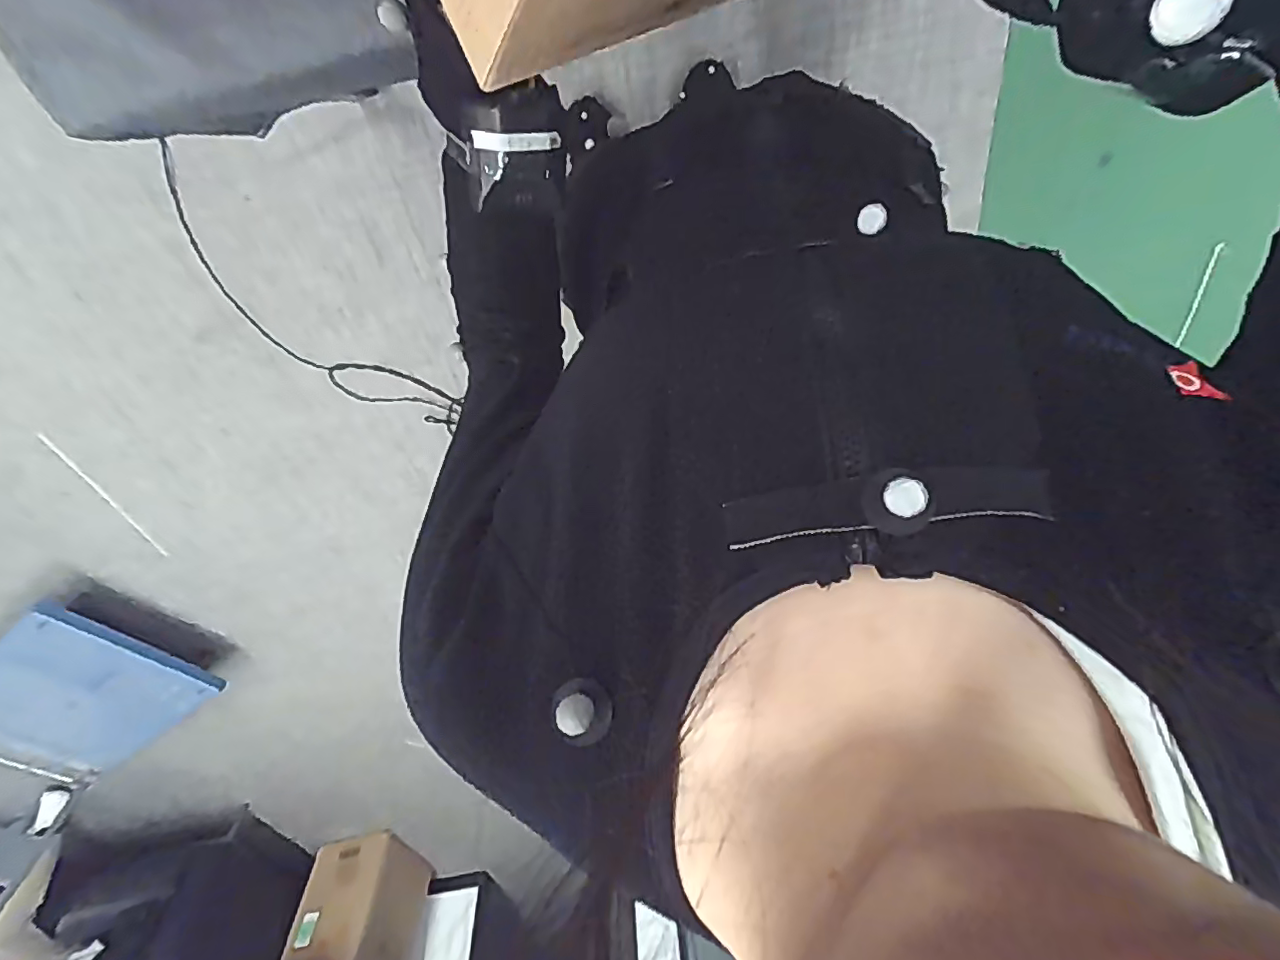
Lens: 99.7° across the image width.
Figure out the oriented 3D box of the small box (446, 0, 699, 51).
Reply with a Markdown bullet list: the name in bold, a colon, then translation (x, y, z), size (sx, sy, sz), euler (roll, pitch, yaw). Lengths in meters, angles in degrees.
- **small box**: translation (-0.011, -0.291, 0.186), size (0.168, 0.176, 0.179), euler (-33, 116, -17)
